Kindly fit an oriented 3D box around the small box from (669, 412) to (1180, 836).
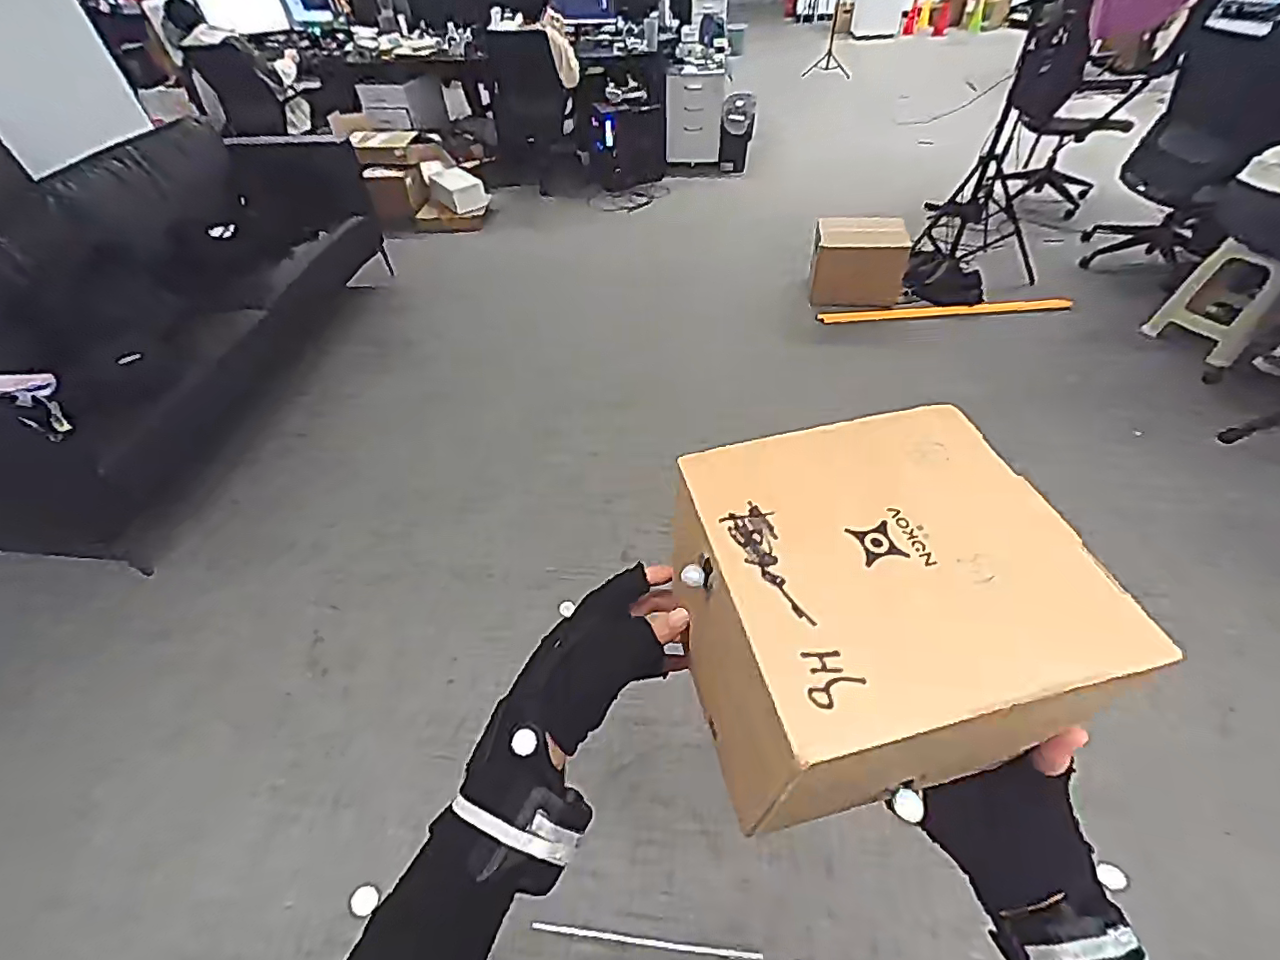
[{"bbox_3d":[0.124,0.084,0.321,0.179,0.176,0.168,-9,48,-9],"label":"small box"}]
